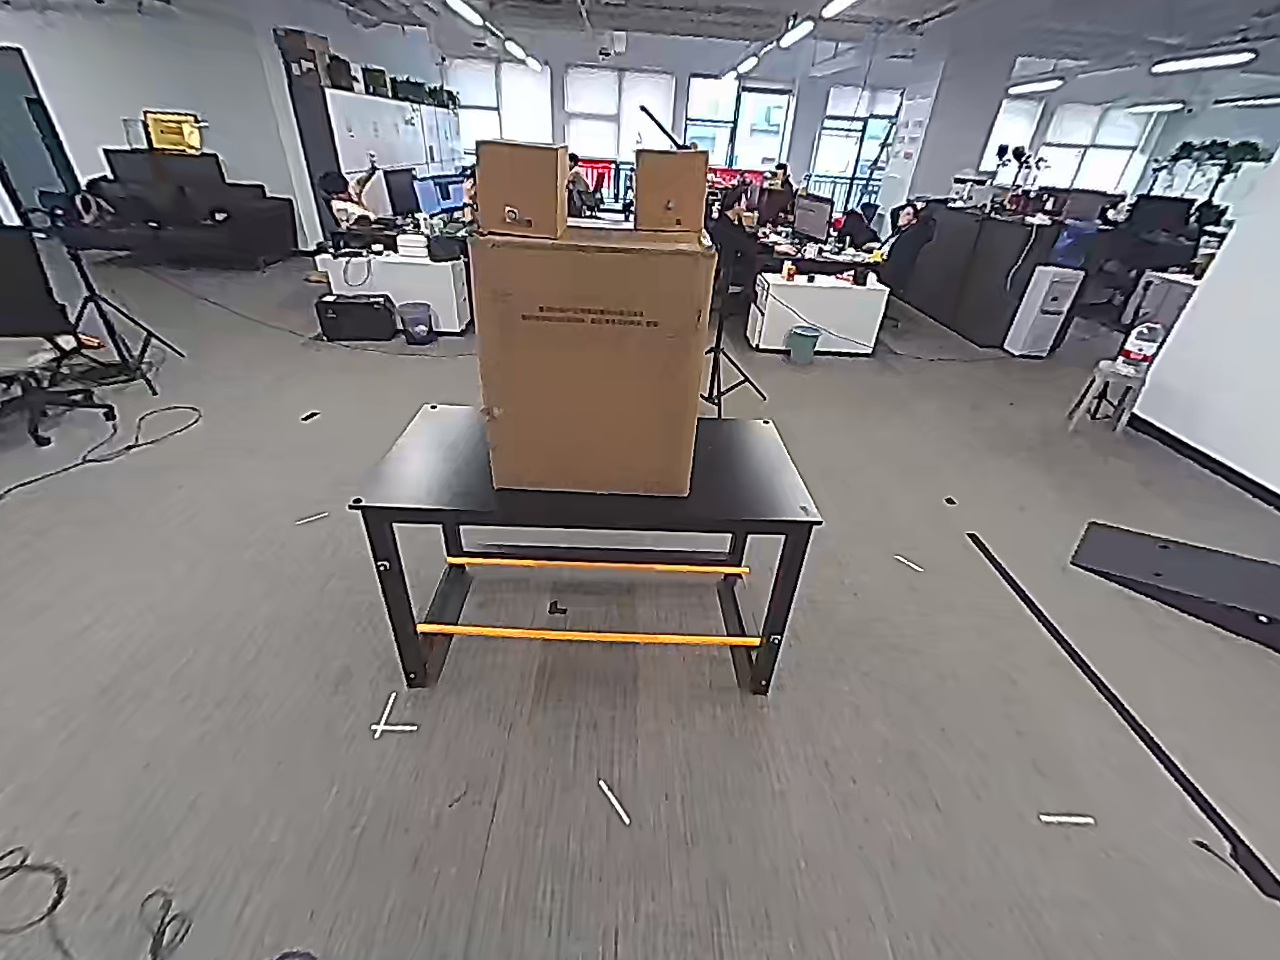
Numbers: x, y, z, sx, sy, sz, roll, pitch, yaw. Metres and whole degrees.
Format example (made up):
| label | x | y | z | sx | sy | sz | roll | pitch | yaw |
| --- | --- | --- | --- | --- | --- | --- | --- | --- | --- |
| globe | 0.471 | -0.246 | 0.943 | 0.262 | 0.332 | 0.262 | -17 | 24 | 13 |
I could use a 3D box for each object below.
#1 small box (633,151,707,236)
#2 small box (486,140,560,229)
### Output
| label | x | y | z | sx | sy | sz | roll | pitch | yaw |
| --- | --- | --- | --- | --- | --- | --- | --- | --- | --- |
| small box | 0.067 | -0.702 | 1.326 | 0.168 | 0.176 | 0.179 | 1 | 30 | -2 |
| small box | -0.282 | -0.726 | 1.330 | 0.168 | 0.176 | 0.179 | 0 | 31 | -8 |
